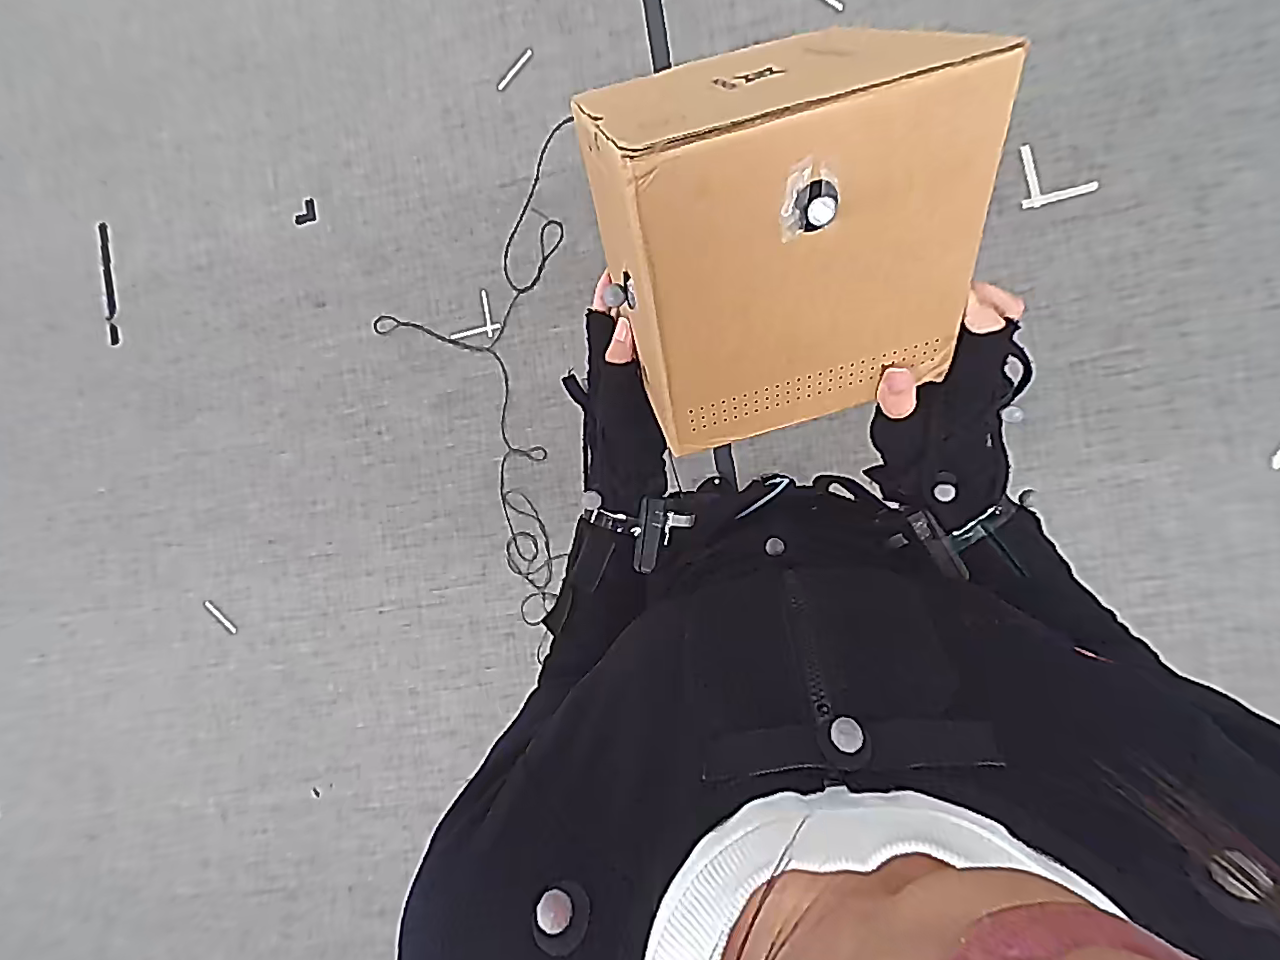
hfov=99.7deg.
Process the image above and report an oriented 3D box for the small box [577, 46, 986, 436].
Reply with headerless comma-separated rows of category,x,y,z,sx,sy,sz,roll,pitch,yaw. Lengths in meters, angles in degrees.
small box,0.073,-0.151,0.348,0.179,0.168,0.176,-16,133,-2
